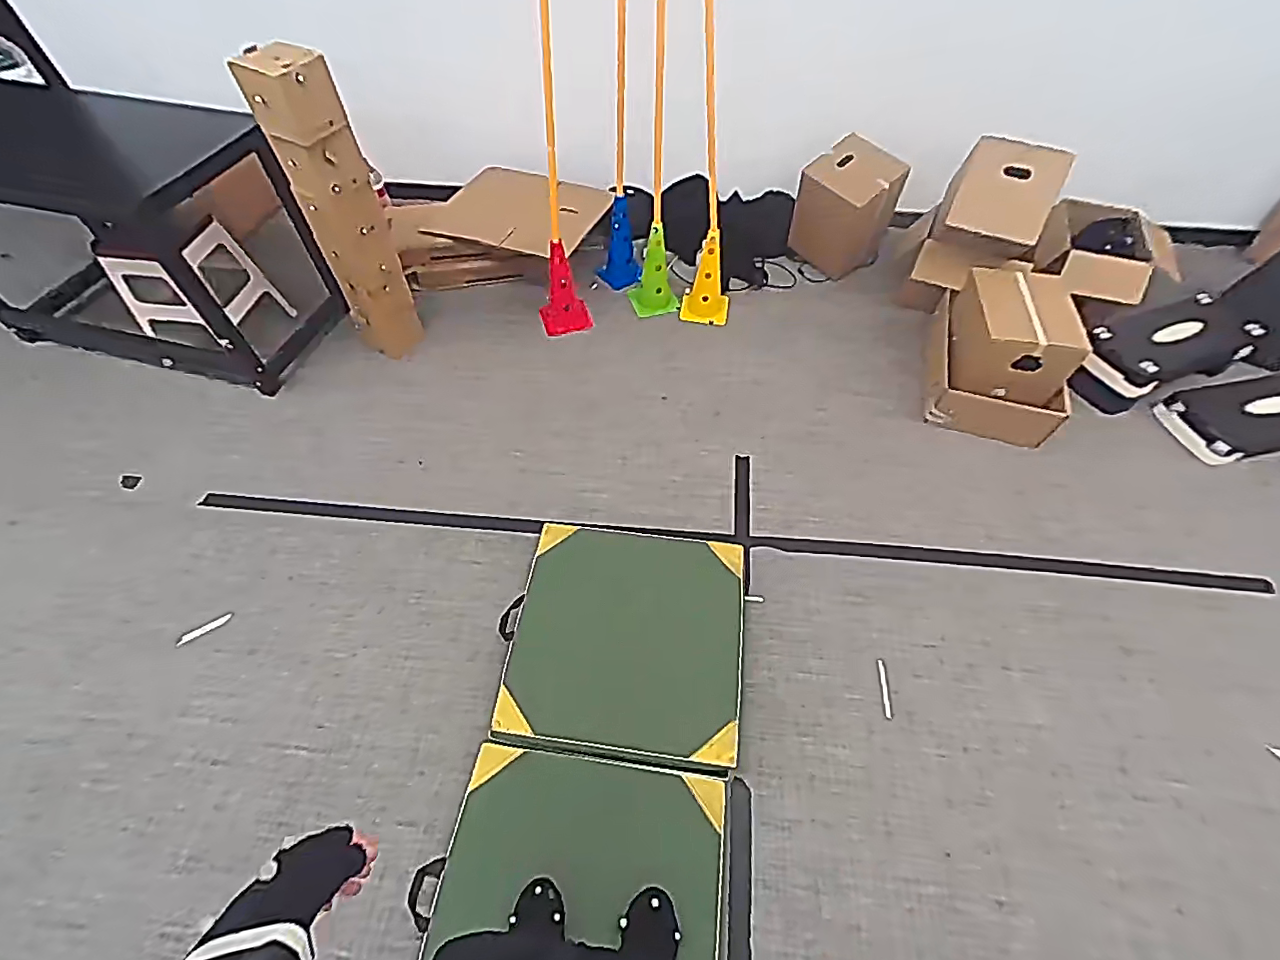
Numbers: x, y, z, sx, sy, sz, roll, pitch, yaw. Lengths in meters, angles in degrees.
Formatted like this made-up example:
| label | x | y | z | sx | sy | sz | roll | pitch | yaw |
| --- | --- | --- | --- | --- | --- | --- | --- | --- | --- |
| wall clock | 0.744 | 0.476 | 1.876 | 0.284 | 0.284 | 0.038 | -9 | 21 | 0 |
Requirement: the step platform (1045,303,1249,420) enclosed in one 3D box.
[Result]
| label | x | y | z | sx | sy | sz | roll | pitch | yaw |
| --- | --- | --- | --- | --- | --- | --- | --- | --- | --- |
| step platform | 1.974 | -0.473 | 2.110 | 0.684 | 0.204 | 0.286 | -19 | 57 | -13 |
